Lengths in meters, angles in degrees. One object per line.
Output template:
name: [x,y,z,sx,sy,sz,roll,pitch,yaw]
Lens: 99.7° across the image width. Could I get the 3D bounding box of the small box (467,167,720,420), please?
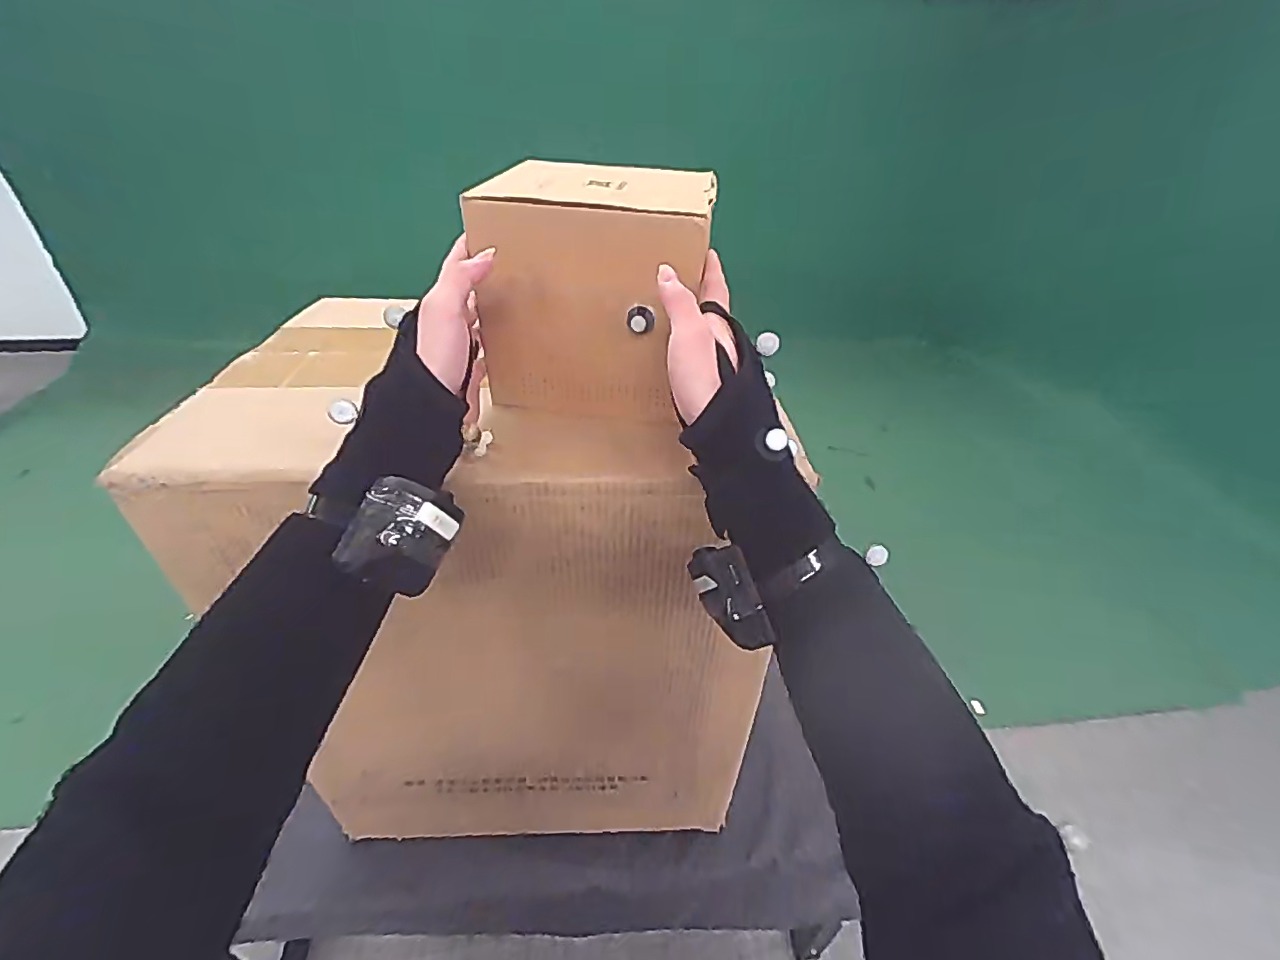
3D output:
small box: [-0.028,-0.169,0.487,0.179,0.176,0.168,6,38,6]
